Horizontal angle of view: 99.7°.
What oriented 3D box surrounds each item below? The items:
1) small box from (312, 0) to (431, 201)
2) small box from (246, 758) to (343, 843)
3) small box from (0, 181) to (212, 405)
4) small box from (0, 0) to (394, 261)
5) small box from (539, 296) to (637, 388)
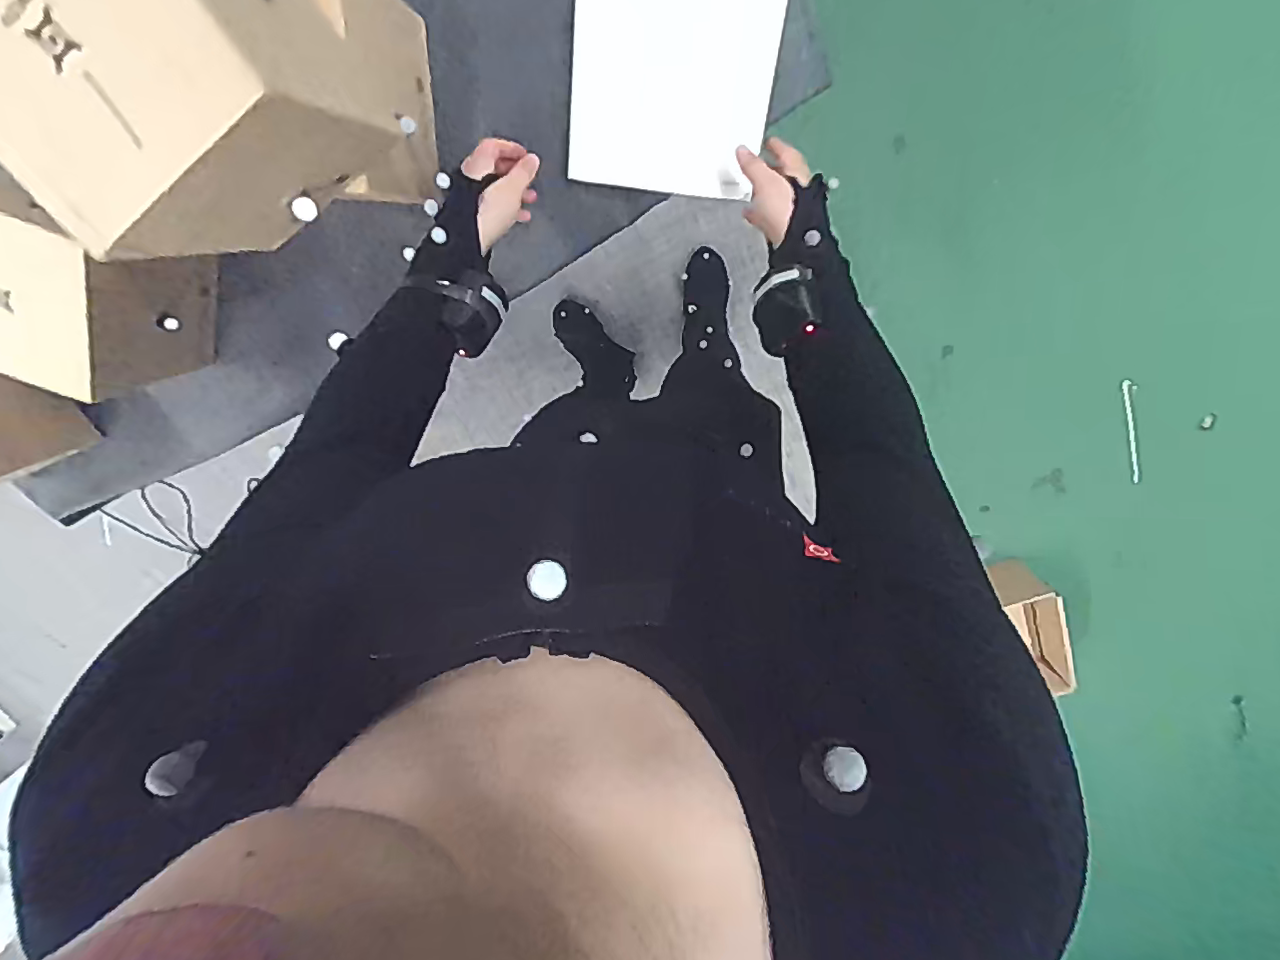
[{"bbox_3d":[-0.309,-0.353,0.497,0.179,0.176,0.168,4,116,2],"label":"small box"},{"bbox_3d":[-1.049,0.982,1.667,0.179,0.176,0.168,-5,116,2],"label":"small box"},{"bbox_3d":[-0.609,-0.208,0.582,0.179,0.176,0.168,21,115,-7],"label":"small box"},{"bbox_3d":[-0.308,-0.270,0.354,0.168,0.176,0.179,-28,112,16],"label":"small box"},{"bbox_3d":[-0.123,-0.323,1.295,0.176,0.168,0.179,6,95,-32],"label":"small box"}]
